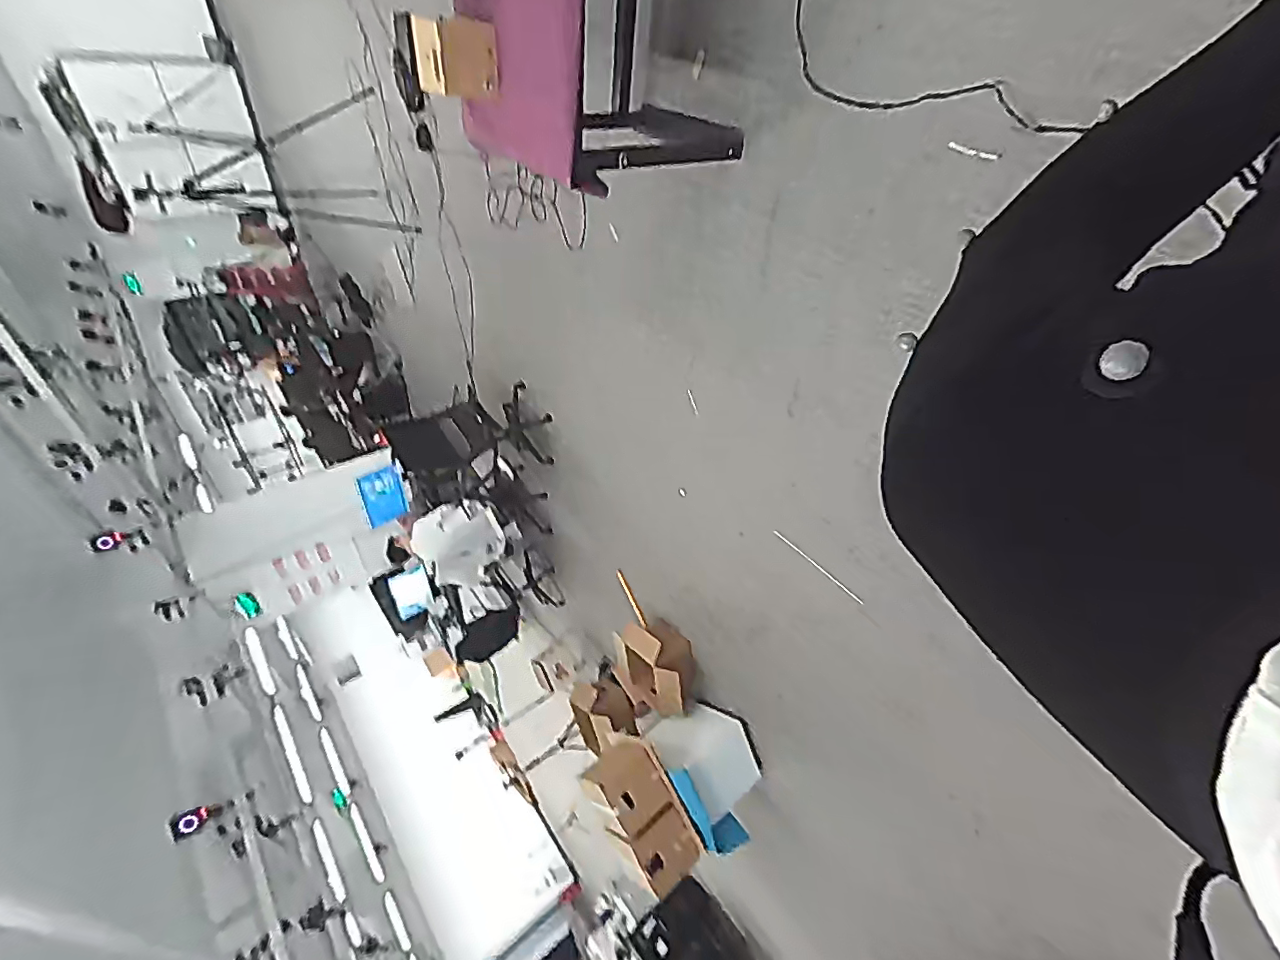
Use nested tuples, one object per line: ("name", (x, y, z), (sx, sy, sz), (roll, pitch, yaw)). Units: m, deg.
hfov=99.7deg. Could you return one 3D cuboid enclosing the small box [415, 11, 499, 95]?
("small box", (-0.512, -1.213, 1.539), (0.179, 0.176, 0.168), (43, 142, 32))
